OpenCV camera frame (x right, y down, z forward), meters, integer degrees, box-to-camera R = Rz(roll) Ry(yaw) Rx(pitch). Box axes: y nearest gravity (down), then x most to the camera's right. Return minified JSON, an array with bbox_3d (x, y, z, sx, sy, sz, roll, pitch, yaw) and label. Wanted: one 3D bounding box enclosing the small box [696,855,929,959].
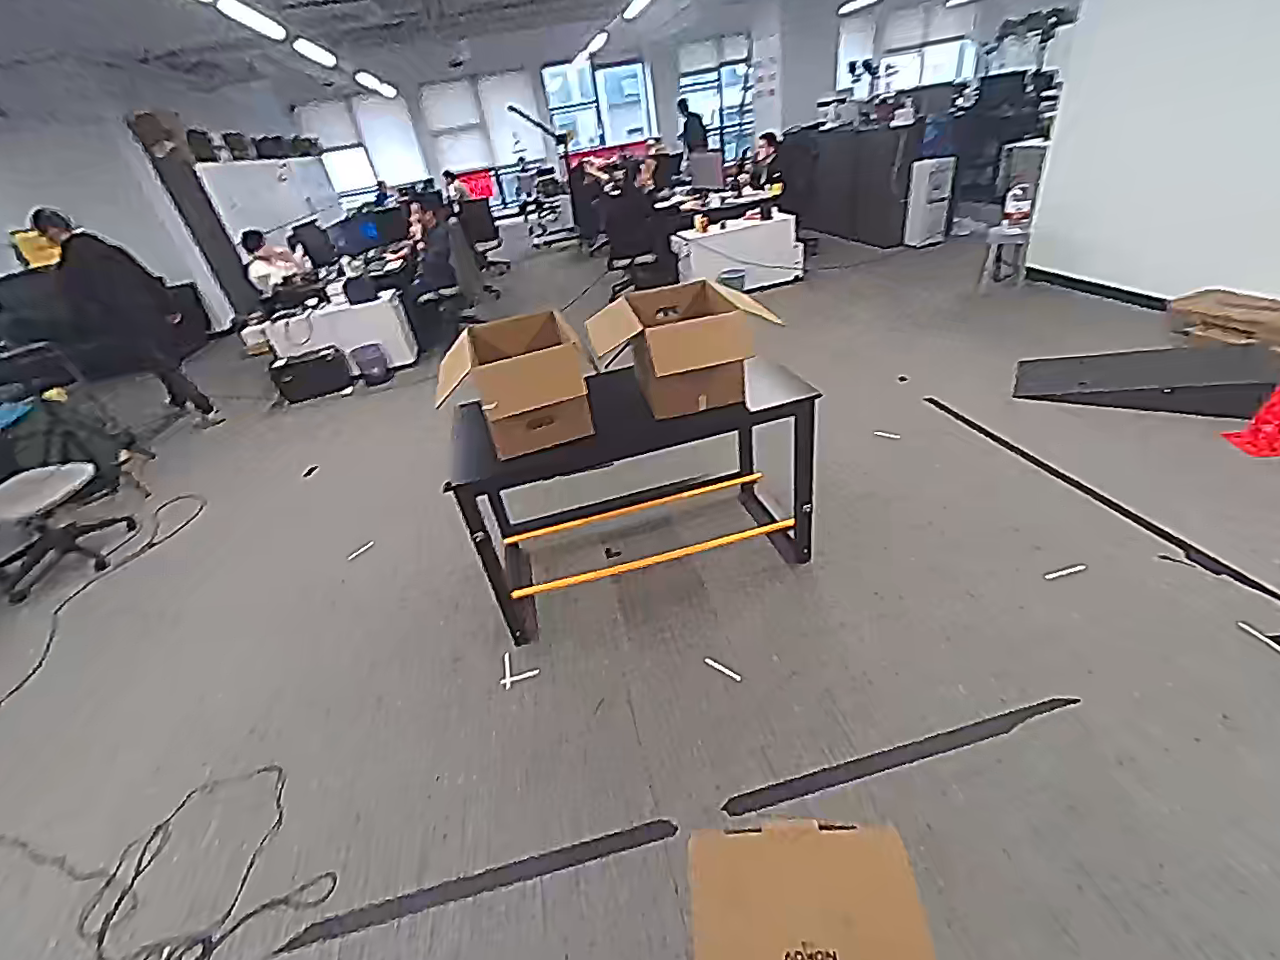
[{"bbox_3d":[0.134,0.418,0.430,0.168,0.176,0.179,-6,48,6],"label":"small box"}]
